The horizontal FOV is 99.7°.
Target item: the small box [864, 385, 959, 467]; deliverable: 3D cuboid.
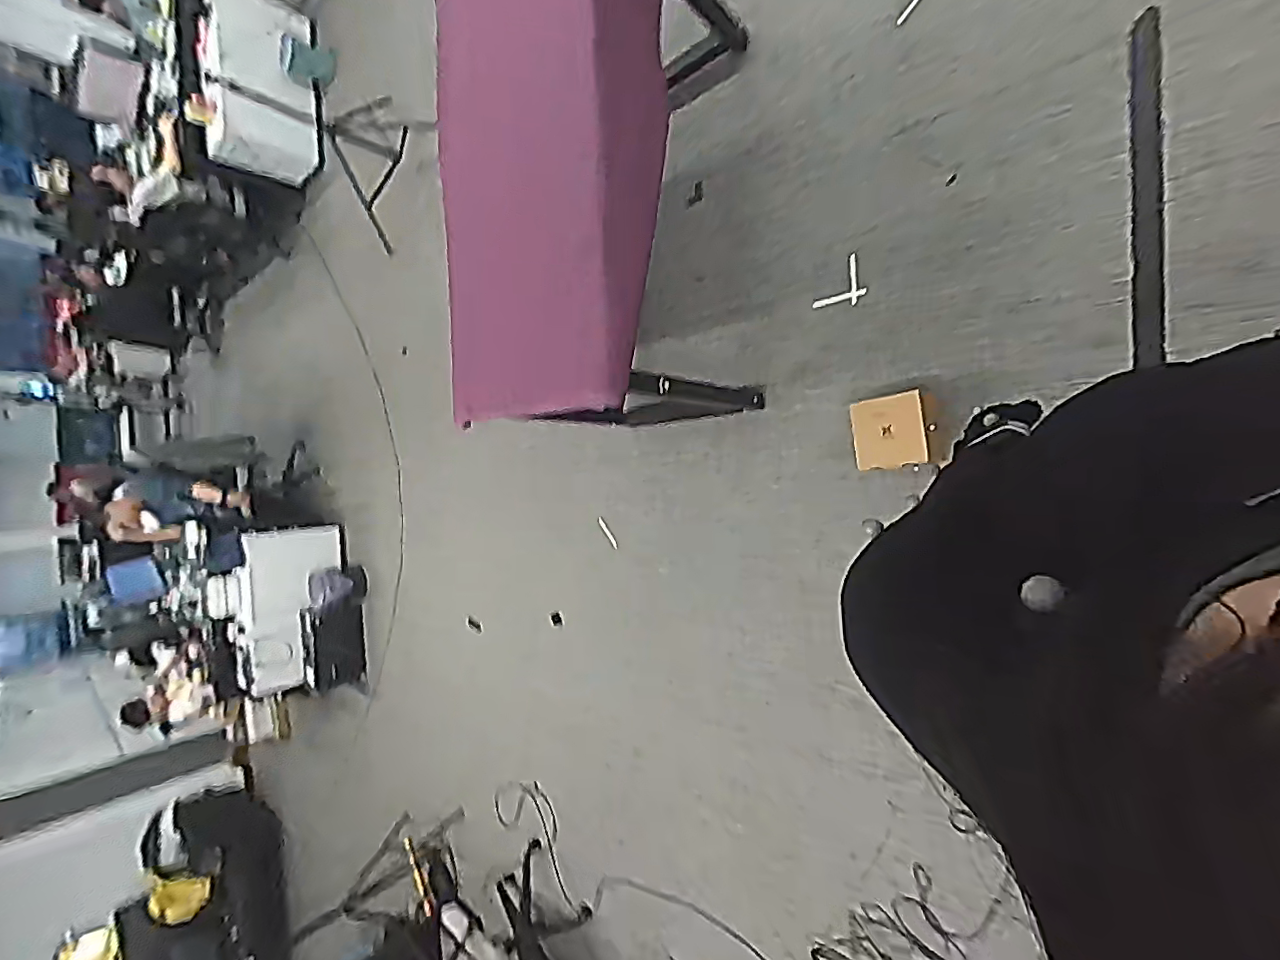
[{"bbox_3d":[0.687,-0.131,1.363,0.168,0.176,0.179,-10,85,41],"label":"small box"}]
